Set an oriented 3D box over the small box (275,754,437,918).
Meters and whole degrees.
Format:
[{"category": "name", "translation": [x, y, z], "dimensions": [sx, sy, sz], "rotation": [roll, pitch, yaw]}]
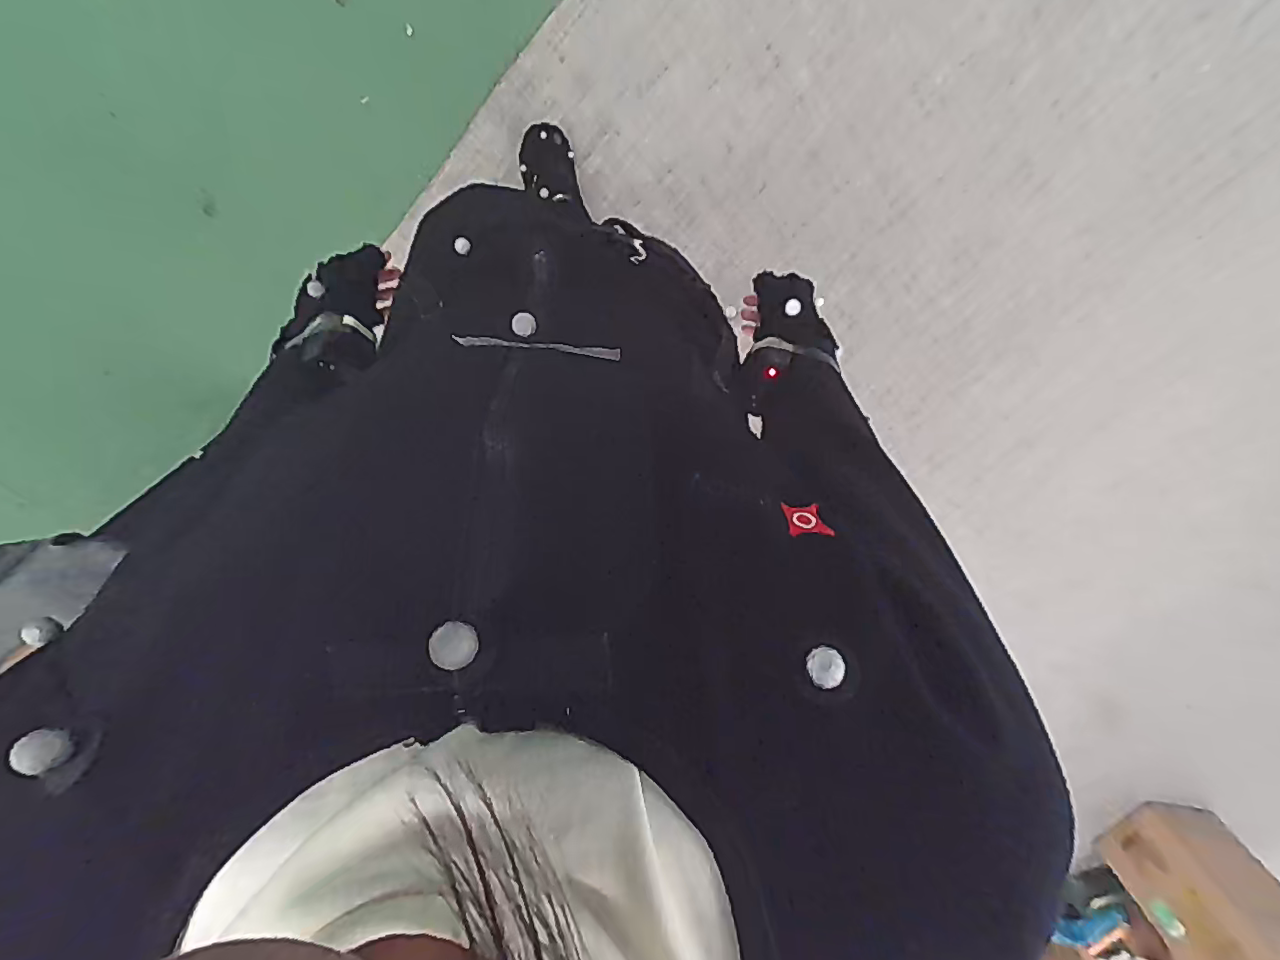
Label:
[{"category": "small box", "translation": [-0.485, 0.623, 0.952], "dimensions": [0.168, 0.176, 0.179], "rotation": [39, 111, -25]}]
